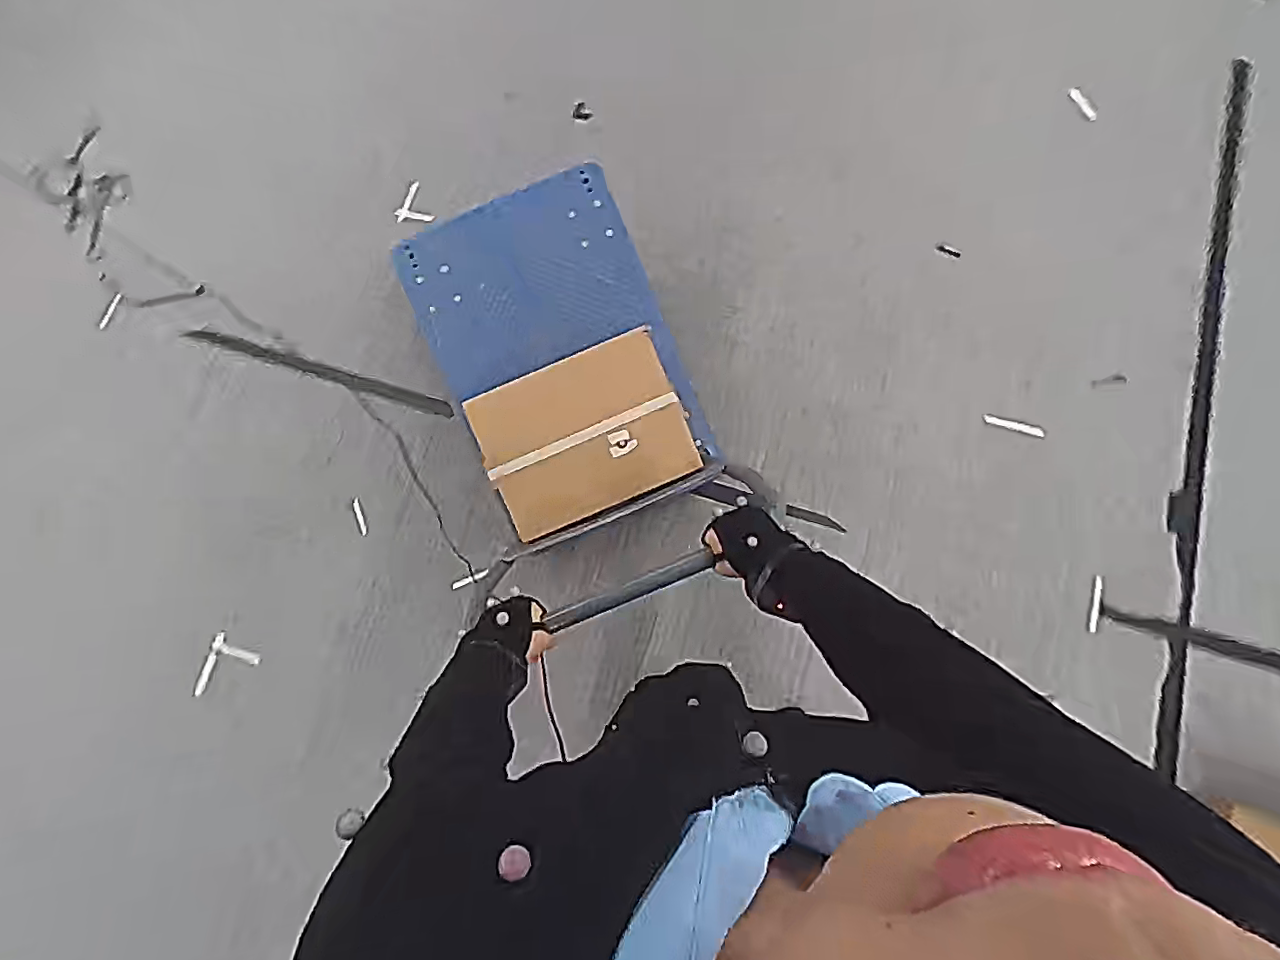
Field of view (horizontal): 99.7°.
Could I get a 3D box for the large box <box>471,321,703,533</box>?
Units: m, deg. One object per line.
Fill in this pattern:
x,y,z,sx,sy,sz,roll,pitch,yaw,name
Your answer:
-0.113,-0.111,1.257,0.408,0.320,0.320,-24,94,-1,large box
